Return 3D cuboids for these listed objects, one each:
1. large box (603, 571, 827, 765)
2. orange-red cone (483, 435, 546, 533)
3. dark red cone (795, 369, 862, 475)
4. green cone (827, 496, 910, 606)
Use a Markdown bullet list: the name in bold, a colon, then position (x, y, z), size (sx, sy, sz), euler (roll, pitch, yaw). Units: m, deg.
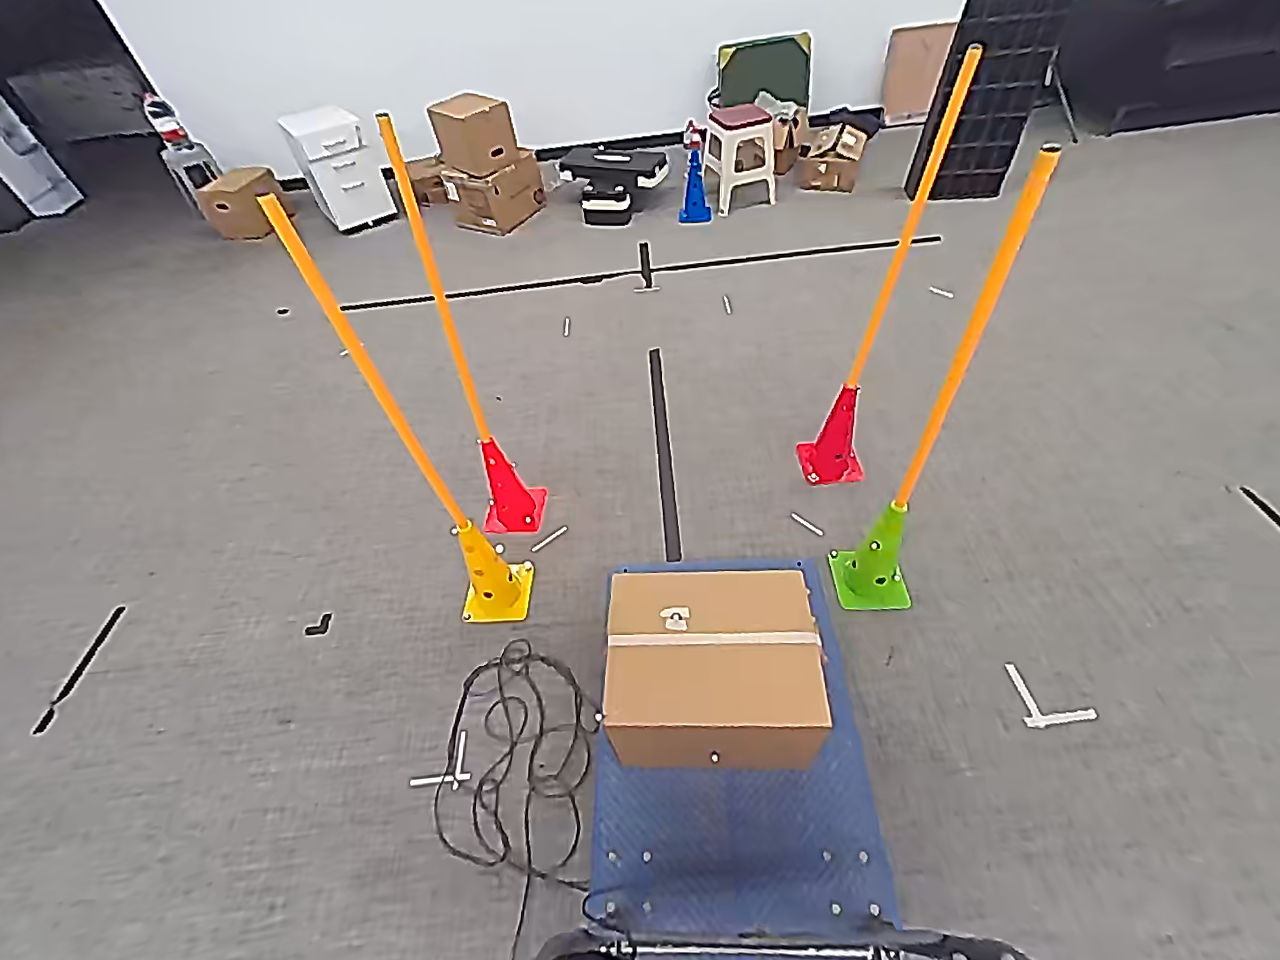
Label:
- **large box**: position (0.149, 0.413, 1.165), size (0.408, 0.320, 0.320), euler (-3, 49, 6)
- **orange-red cone**: position (-0.456, -0.010, 1.798), size (0.198, 0.360, 0.199), euler (1, 48, 6)
- **dark red cone**: position (0.662, -0.200, 1.808), size (0.201, 0.394, 0.202), euler (-4, 49, 0)
- **green cone**: position (0.670, 0.177, 1.501), size (0.202, 0.368, 0.200), euler (-2, 49, 3)
